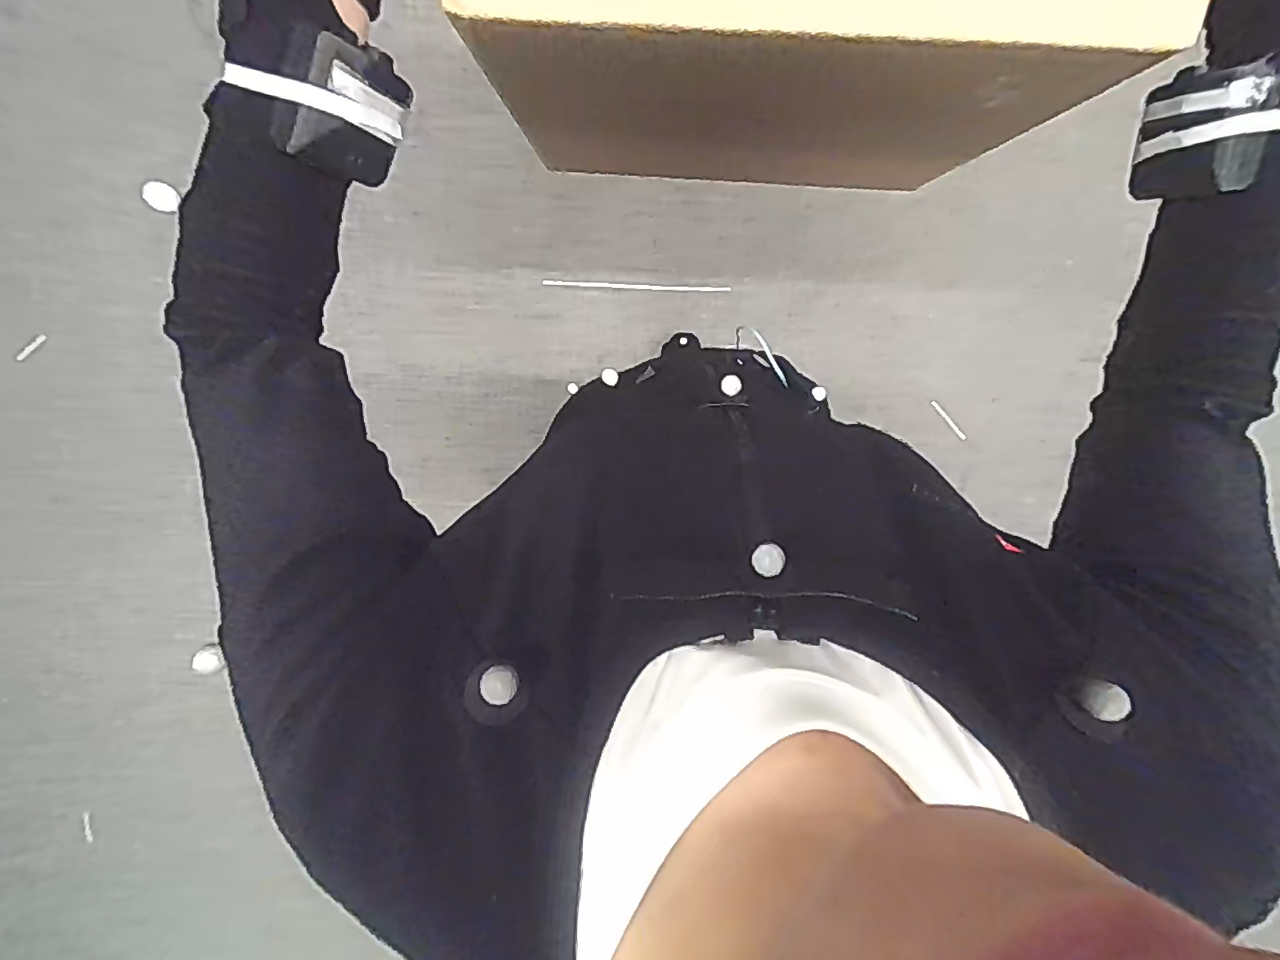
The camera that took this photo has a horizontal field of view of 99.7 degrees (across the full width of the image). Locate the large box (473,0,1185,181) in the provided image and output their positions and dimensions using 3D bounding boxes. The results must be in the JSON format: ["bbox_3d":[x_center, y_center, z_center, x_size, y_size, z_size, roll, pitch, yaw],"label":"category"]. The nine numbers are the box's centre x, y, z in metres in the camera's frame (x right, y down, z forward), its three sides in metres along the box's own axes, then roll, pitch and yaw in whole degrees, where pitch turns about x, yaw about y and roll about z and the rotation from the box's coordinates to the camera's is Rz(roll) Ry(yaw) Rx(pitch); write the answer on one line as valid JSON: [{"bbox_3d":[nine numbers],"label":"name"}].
[{"bbox_3d":[0.106,-0.438,0.406,0.408,0.320,0.320,2,106,-1],"label":"large box"}]
